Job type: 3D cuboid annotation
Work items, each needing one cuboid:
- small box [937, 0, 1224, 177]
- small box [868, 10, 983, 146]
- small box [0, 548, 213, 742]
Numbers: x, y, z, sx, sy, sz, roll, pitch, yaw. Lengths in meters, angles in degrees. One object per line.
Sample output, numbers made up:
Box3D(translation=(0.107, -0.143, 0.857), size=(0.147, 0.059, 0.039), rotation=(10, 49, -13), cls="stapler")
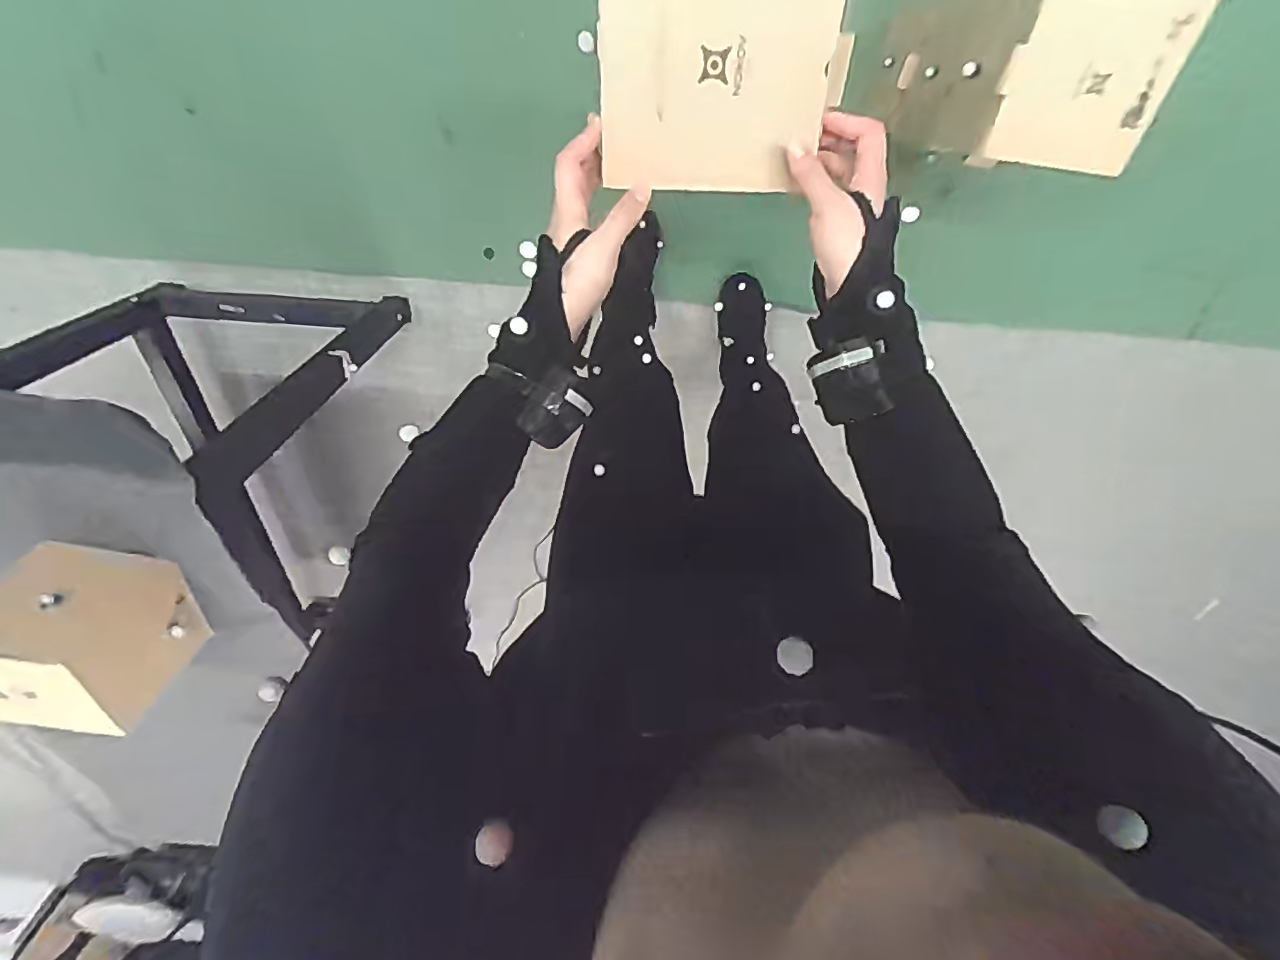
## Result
Box3D(translation=(0.498, -0.479, 0.652), size=(0.179, 0.176, 0.168), rotation=(7, 126, -2), cls="small box")
Box3D(translation=(0.521, -0.671, 0.917), size=(0.179, 0.176, 0.168), rotation=(8, 127, -3), cls="small box")
Box3D(translation=(-0.724, 0.210, 0.708), size=(0.179, 0.176, 0.168), rotation=(10, 127, -2), cls="small box")
